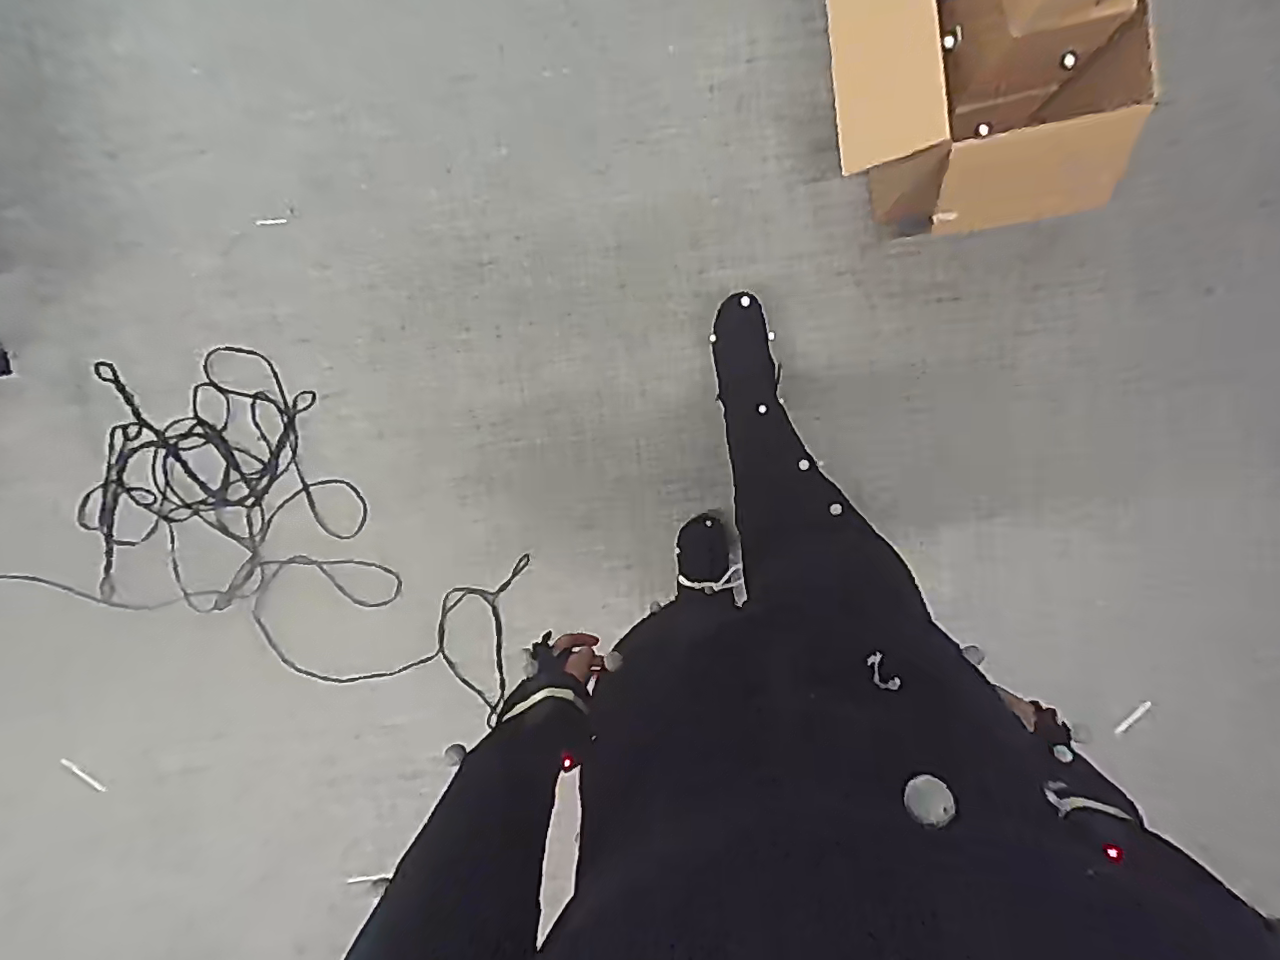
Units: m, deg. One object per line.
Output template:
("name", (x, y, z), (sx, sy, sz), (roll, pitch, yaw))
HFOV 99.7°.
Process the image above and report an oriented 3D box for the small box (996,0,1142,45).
("small box", (0.588, -0.714, 0.699), (0.168, 0.176, 0.179), (-14, 90, 4))
